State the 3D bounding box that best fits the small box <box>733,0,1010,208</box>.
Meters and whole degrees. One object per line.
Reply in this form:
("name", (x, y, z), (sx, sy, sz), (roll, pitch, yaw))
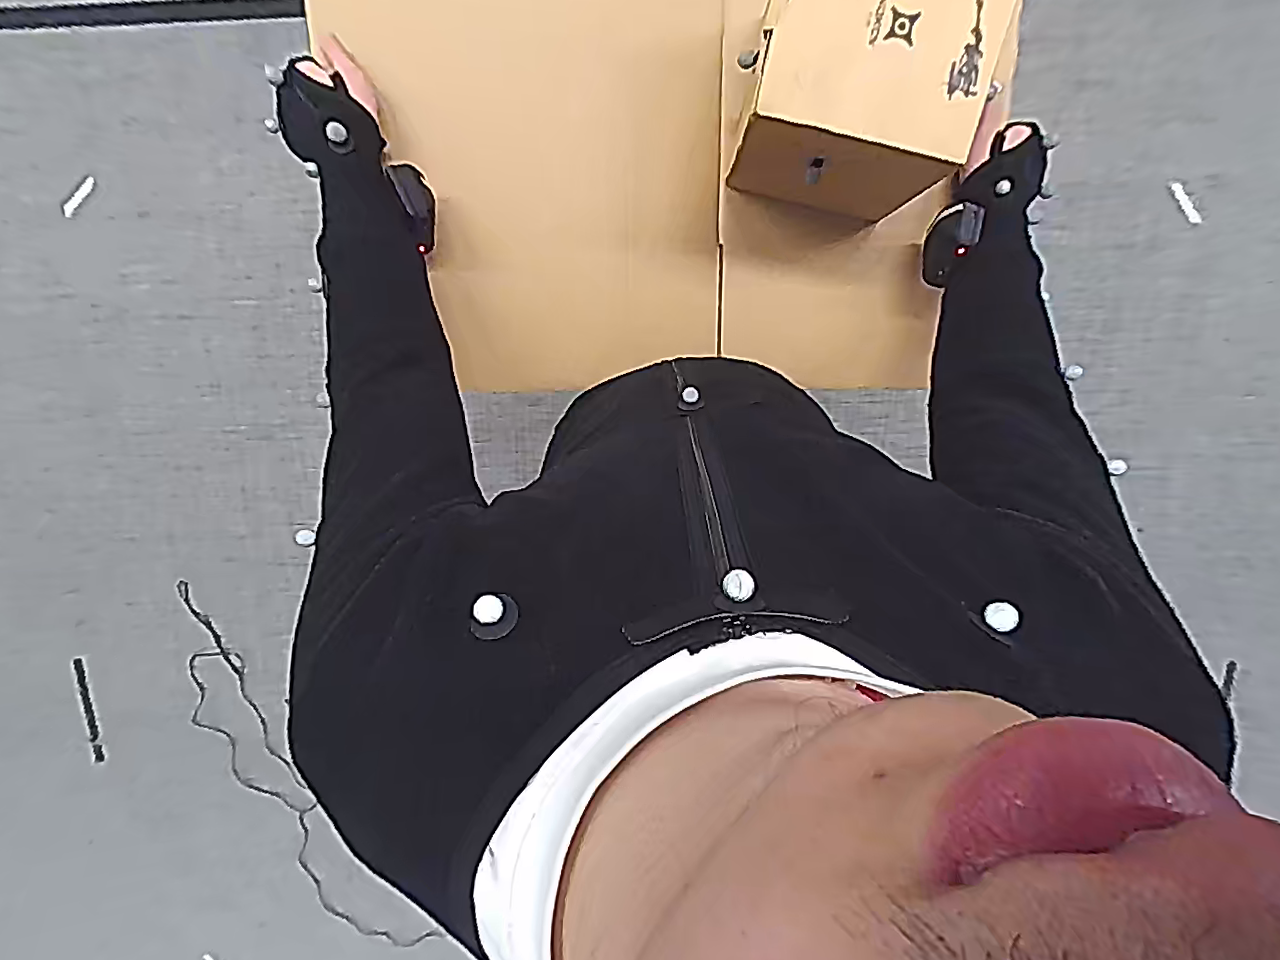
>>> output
("small box", (0.193, -0.369, 0.491), (0.179, 0.176, 0.168), (13, 102, 0))
